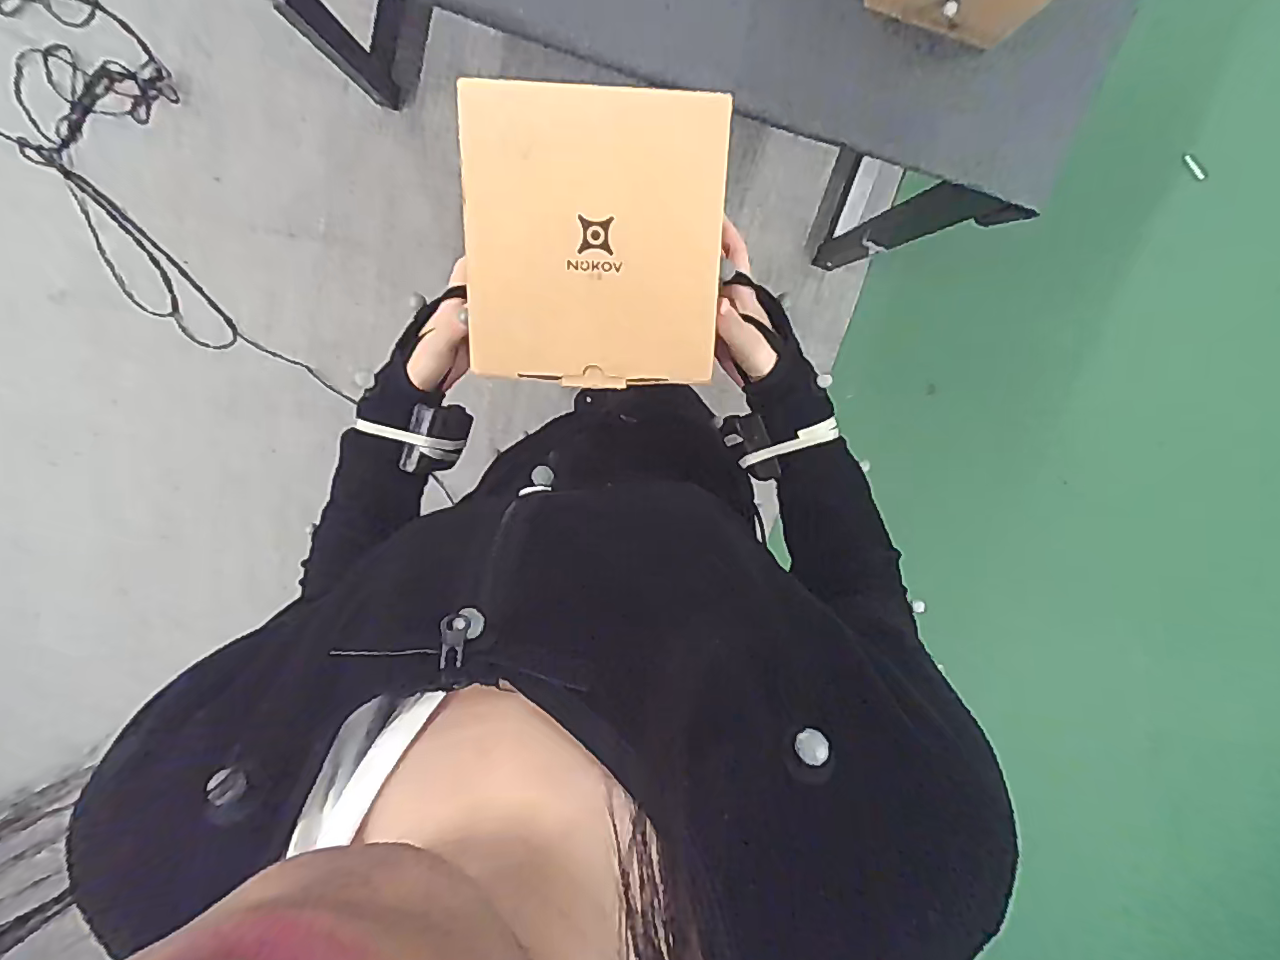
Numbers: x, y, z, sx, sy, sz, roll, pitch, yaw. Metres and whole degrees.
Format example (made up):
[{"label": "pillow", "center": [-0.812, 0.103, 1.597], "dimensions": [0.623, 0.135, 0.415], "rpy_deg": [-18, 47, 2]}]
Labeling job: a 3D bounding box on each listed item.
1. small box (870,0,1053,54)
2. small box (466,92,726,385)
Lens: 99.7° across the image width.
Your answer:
[{"label": "small box", "center": [0.357, -0.582, 0.535], "dimensions": [0.168, 0.176, 0.179], "rpy_deg": [15, 103, -3]}, {"label": "small box", "center": [-0.034, -0.173, 0.433], "dimensions": [0.168, 0.176, 0.179], "rpy_deg": [0, 106, -3]}]
